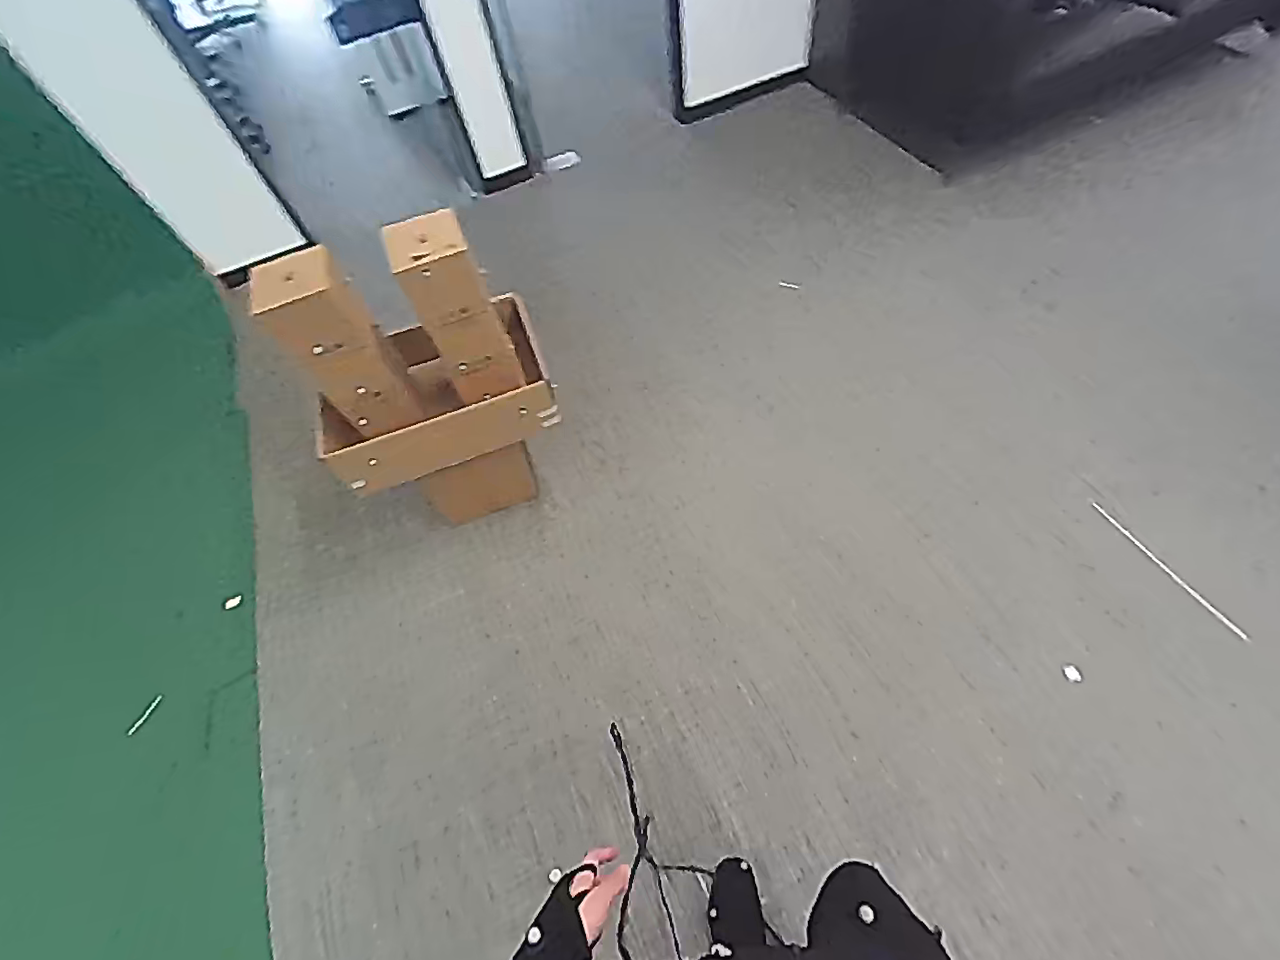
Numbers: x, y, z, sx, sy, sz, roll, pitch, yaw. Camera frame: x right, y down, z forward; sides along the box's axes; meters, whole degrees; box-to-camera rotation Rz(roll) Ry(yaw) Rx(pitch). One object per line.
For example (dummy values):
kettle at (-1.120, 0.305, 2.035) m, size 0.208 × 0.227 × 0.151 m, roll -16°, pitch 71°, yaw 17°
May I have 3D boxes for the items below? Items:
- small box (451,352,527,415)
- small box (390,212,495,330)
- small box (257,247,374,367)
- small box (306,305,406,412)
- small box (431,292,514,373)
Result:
small box at (-0.436, -0.318, 1.548) m, size 0.168 × 0.176 × 0.179 m, roll -18°, pitch 58°, yaw -5°
small box at (-0.459, -0.485, 1.266) m, size 0.168 × 0.176 × 0.179 m, roll -22°, pitch 58°, yaw -7°
small box at (-0.737, -0.393, 1.241) m, size 0.168 × 0.176 × 0.179 m, roll -21°, pitch 57°, yaw -6°
small box at (-0.722, -0.308, 1.379) m, size 0.168 × 0.176 × 0.179 m, roll -22°, pitch 58°, yaw -6°
small box at (-0.443, -0.403, 1.407) m, size 0.168 × 0.176 × 0.179 m, roll -22°, pitch 58°, yaw -7°
